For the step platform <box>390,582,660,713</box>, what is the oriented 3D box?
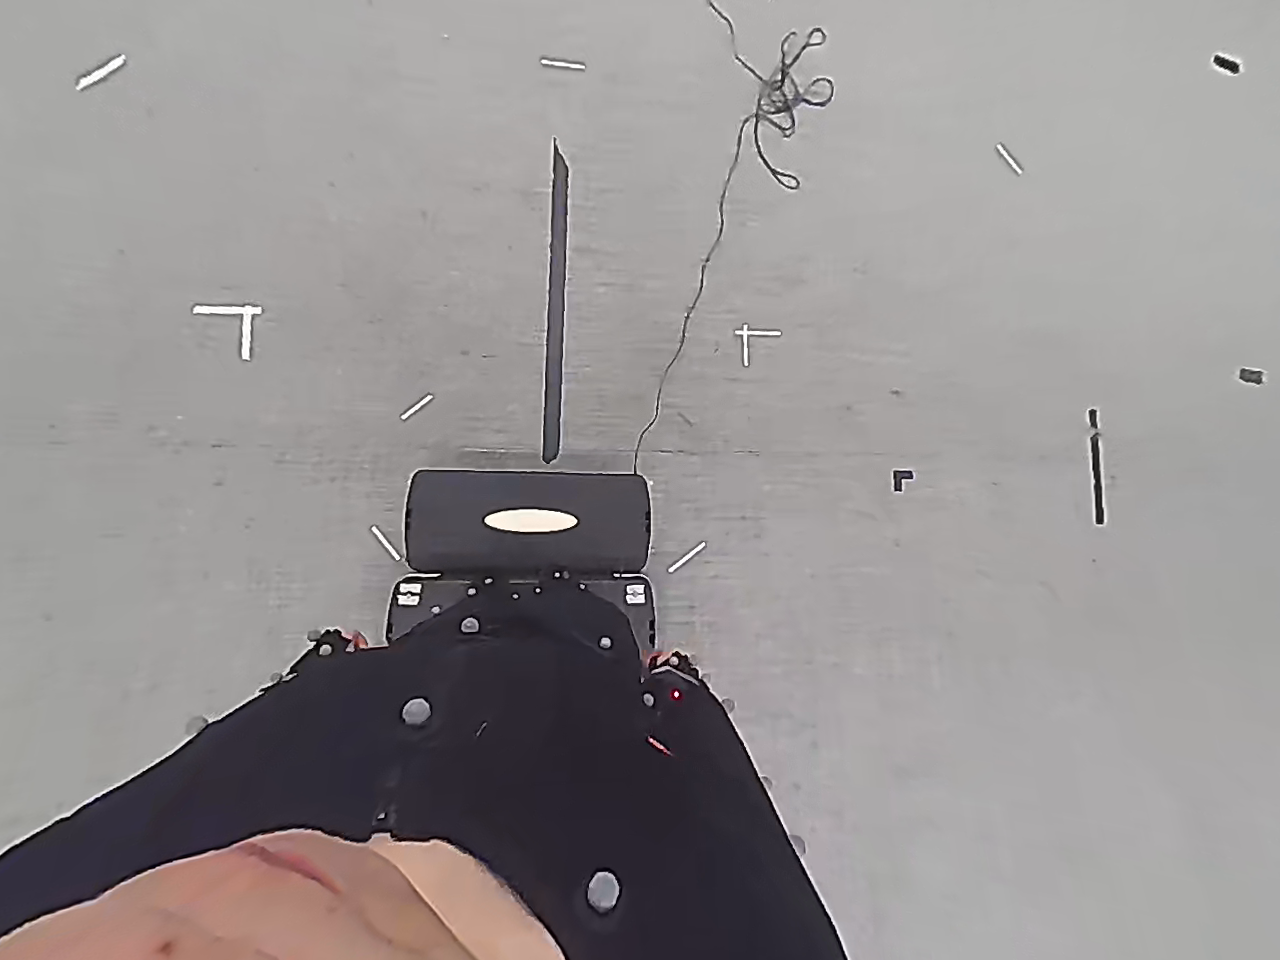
[{"bbox_3d":[-0.286,0.438,1.433,0.684,0.204,0.286,5,81,-5],"label":"step platform"}]
